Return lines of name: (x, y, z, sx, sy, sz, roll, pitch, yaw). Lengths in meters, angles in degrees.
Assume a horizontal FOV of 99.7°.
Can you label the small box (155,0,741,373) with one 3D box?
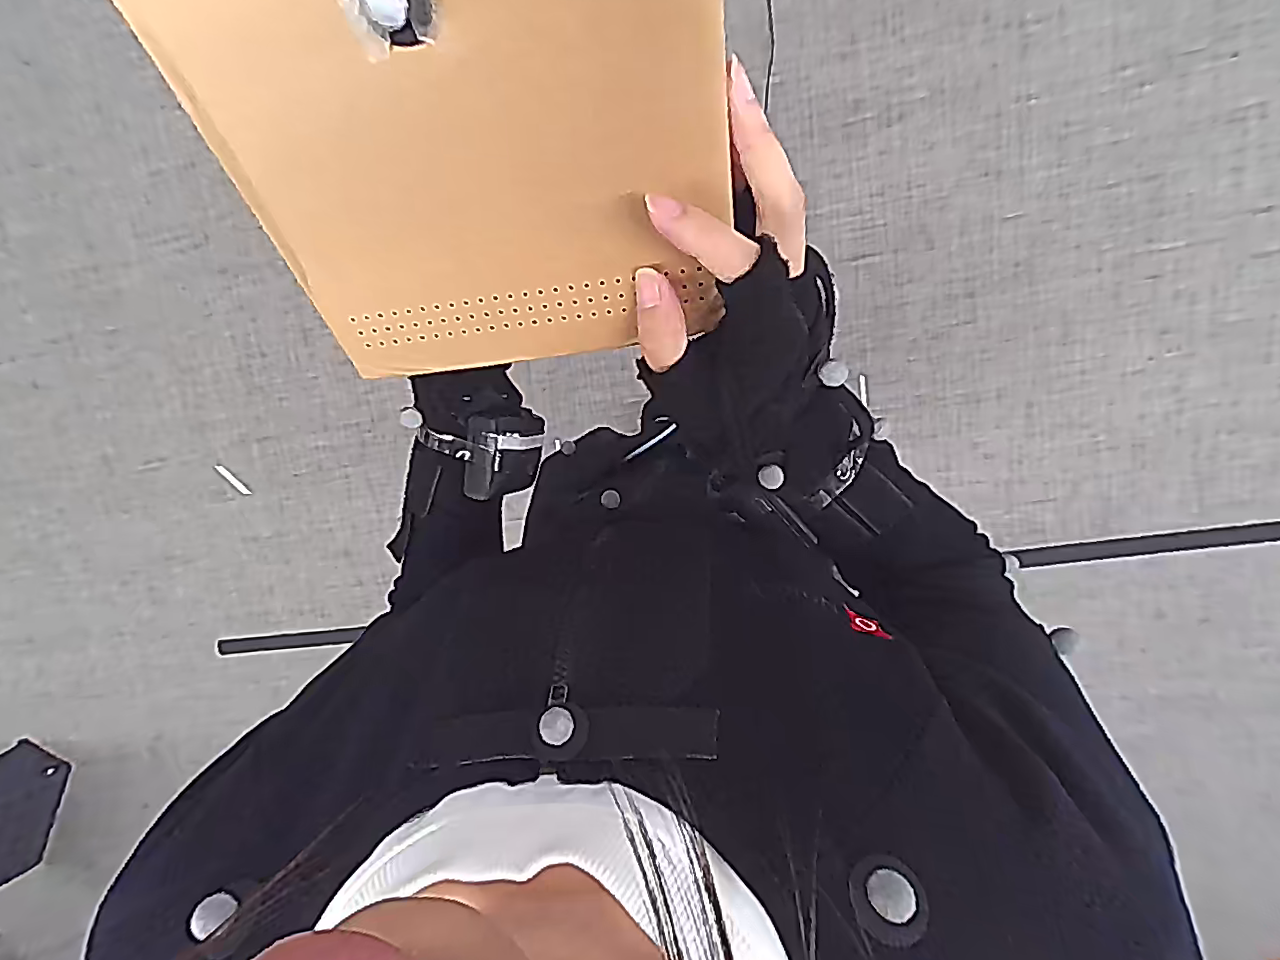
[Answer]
small box: (-0.051, -0.164, 0.242, 0.179, 0.168, 0.176, -5, 138, 9)
